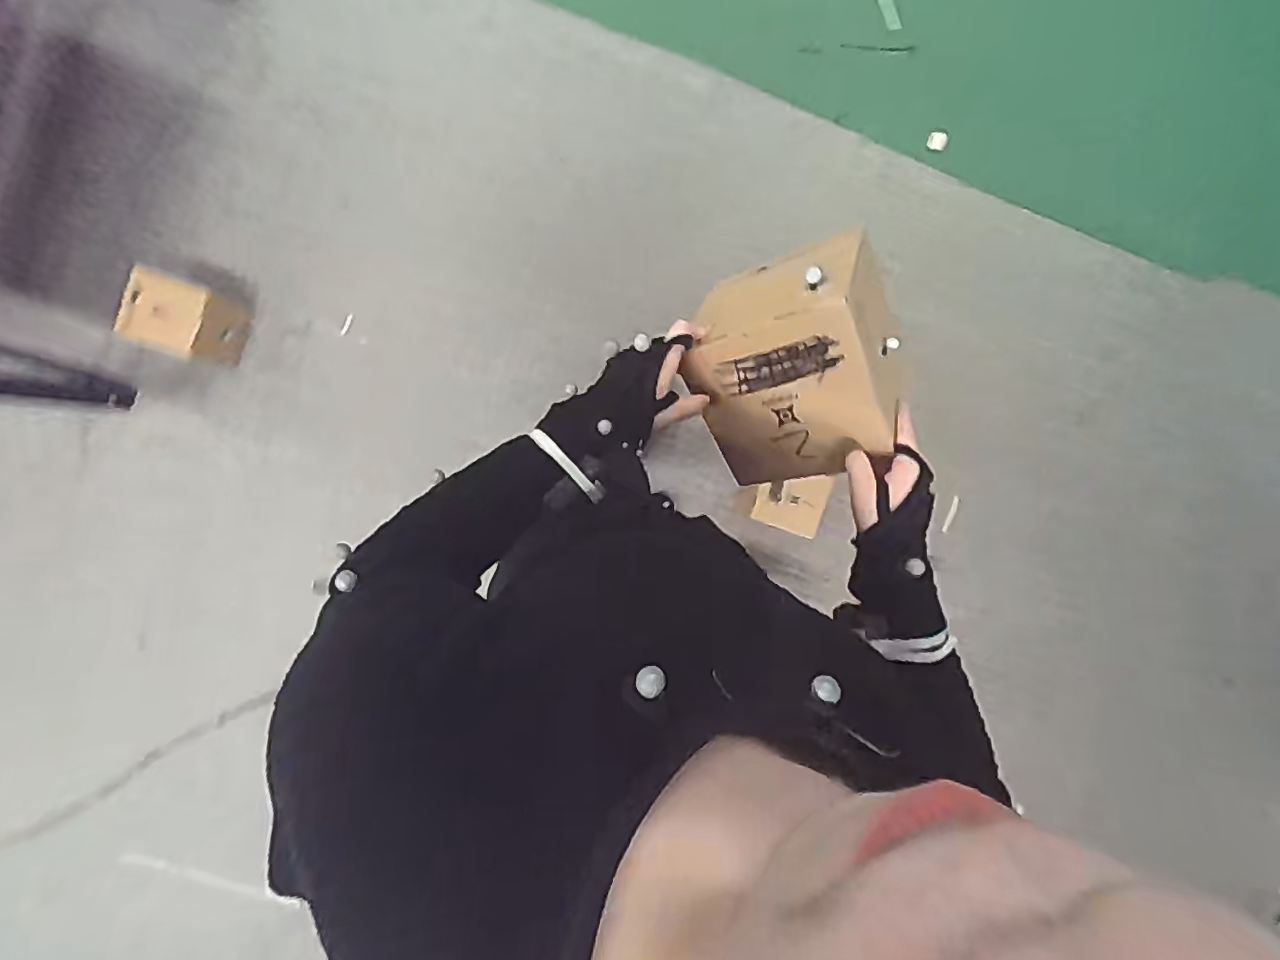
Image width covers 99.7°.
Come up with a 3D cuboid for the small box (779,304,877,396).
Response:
[{"bbox_3d":[0.483,-0.331,1.419,0.168,0.176,0.179,19,92,-4],"label":"small box"}]

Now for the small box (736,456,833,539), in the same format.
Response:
[{"bbox_3d":[0.373,0.042,1.432,0.179,0.176,0.168,20,92,-4],"label":"small box"}]

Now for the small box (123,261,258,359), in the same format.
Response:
[{"bbox_3d":[-1.102,-0.411,1.342,0.179,0.176,0.168,20,92,-4],"label":"small box"}]
